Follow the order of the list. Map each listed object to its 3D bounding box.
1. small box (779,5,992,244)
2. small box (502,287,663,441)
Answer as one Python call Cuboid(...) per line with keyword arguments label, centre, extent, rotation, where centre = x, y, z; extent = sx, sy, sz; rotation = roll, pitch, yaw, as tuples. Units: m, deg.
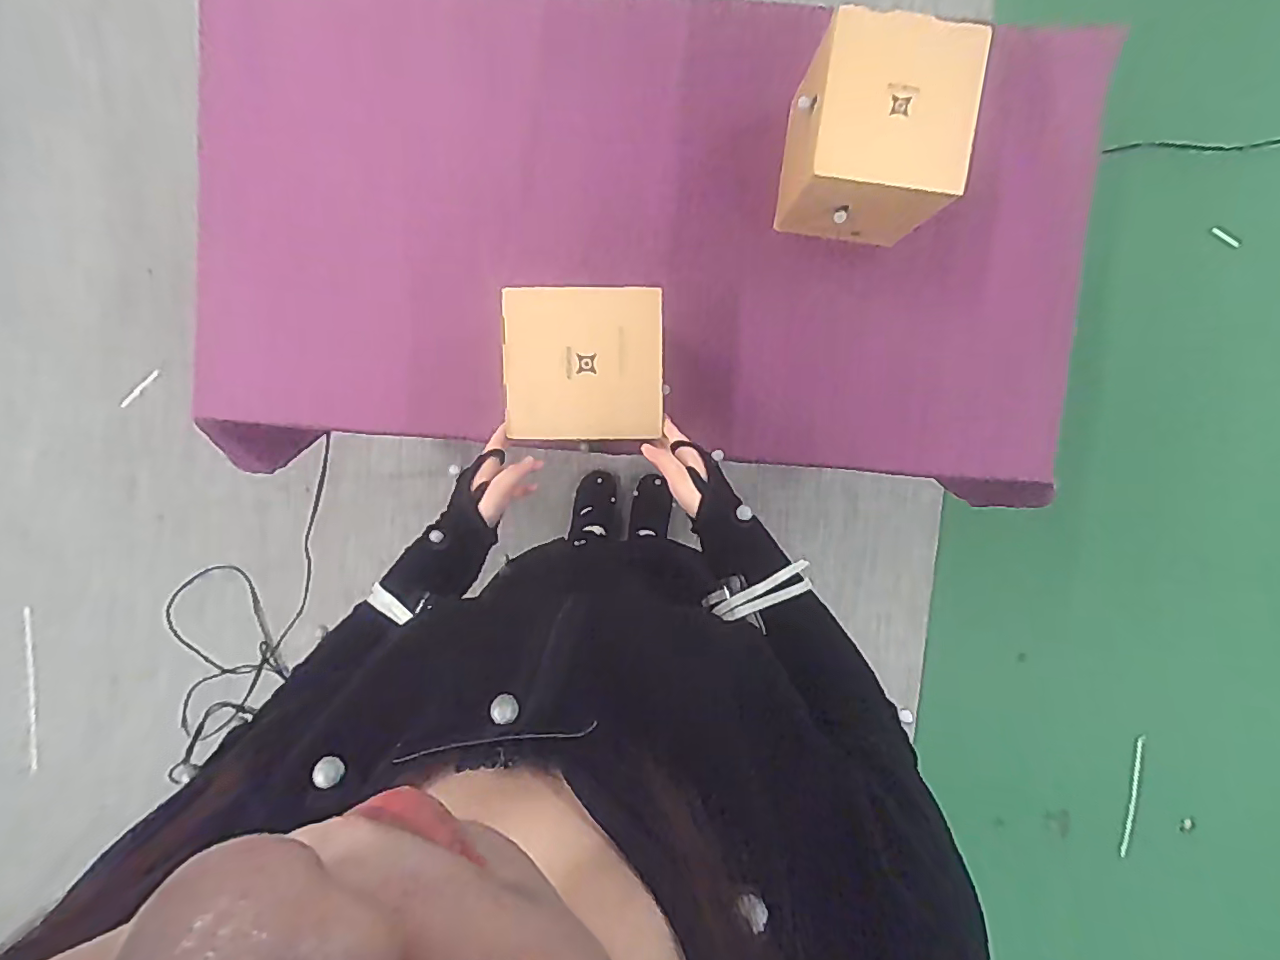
Cuboid(label="small box", centre=(0.275, -0.404, 0.648), extent=(0.168, 0.176, 0.179), rotation=(8, 94, 0))
Cuboid(label="small box", centre=(-0.063, -0.132, 0.669), extent=(0.179, 0.176, 0.168), rotation=(0, 95, -1))
